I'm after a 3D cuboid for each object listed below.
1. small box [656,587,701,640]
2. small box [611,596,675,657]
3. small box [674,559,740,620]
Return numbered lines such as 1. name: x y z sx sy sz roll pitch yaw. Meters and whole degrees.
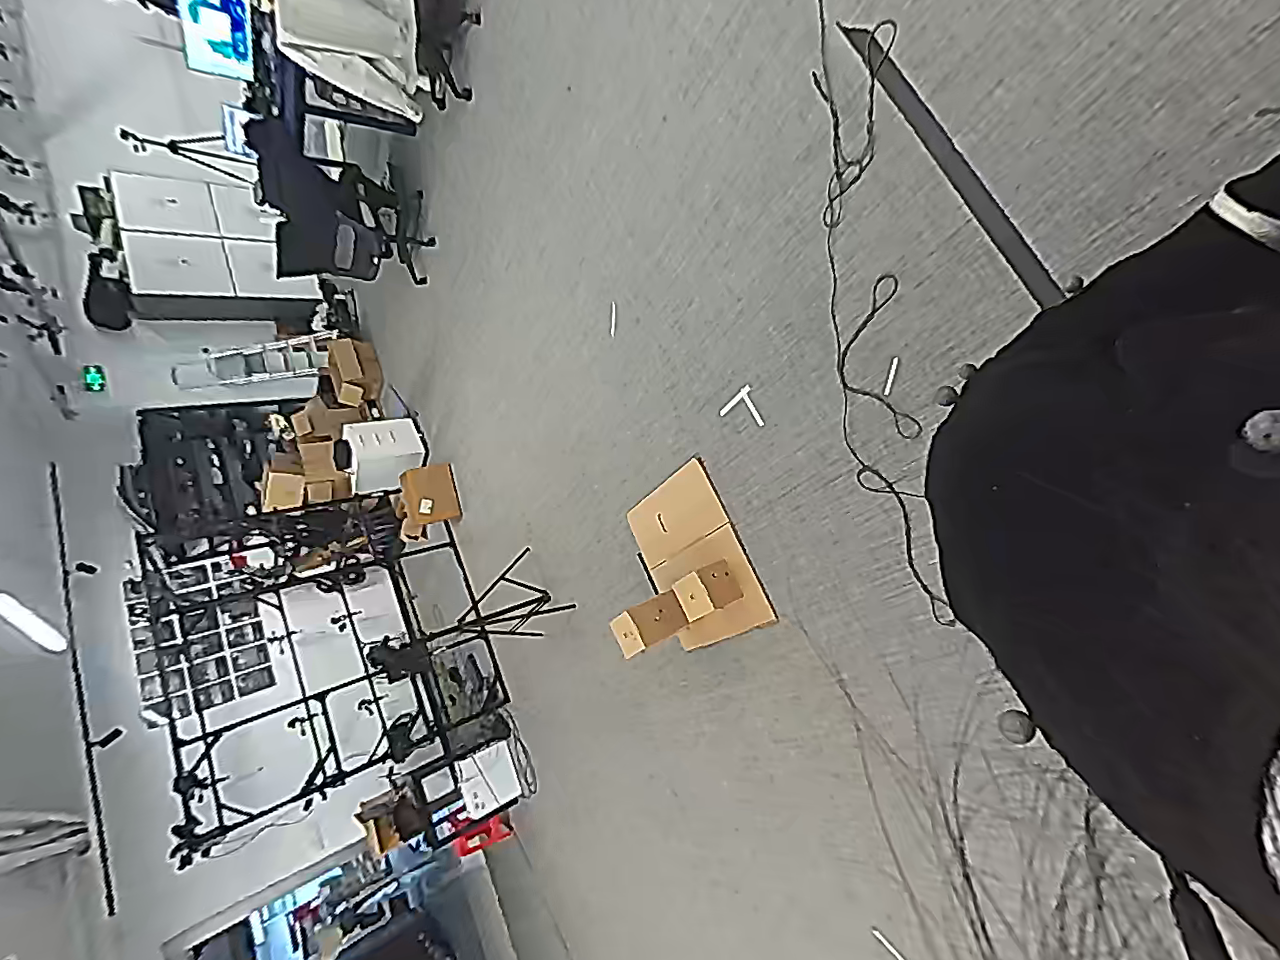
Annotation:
1. small box: 0.139 0.568 2.334 0.168 0.176 0.179 61 139 20
2. small box: 0.013 0.603 2.235 0.168 0.176 0.179 61 140 18
3. small box: 0.270 0.428 2.127 0.179 0.176 0.168 -46 64 49
